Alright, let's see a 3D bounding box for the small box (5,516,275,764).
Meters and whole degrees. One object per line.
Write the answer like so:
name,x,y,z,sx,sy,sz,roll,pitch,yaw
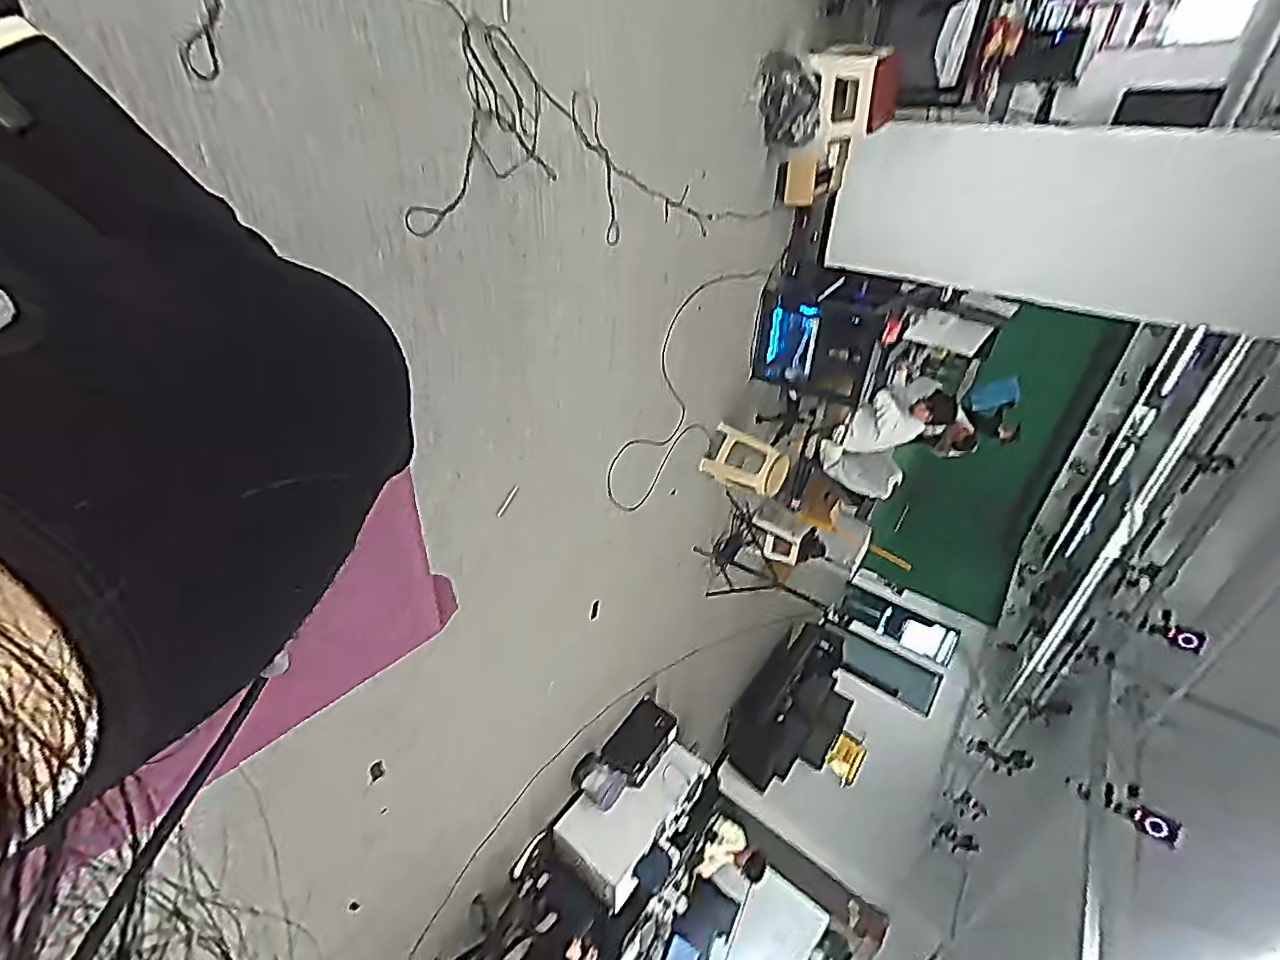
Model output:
small box,-0.565,0.168,0.618,0.179,0.176,0.168,-29,134,-45
